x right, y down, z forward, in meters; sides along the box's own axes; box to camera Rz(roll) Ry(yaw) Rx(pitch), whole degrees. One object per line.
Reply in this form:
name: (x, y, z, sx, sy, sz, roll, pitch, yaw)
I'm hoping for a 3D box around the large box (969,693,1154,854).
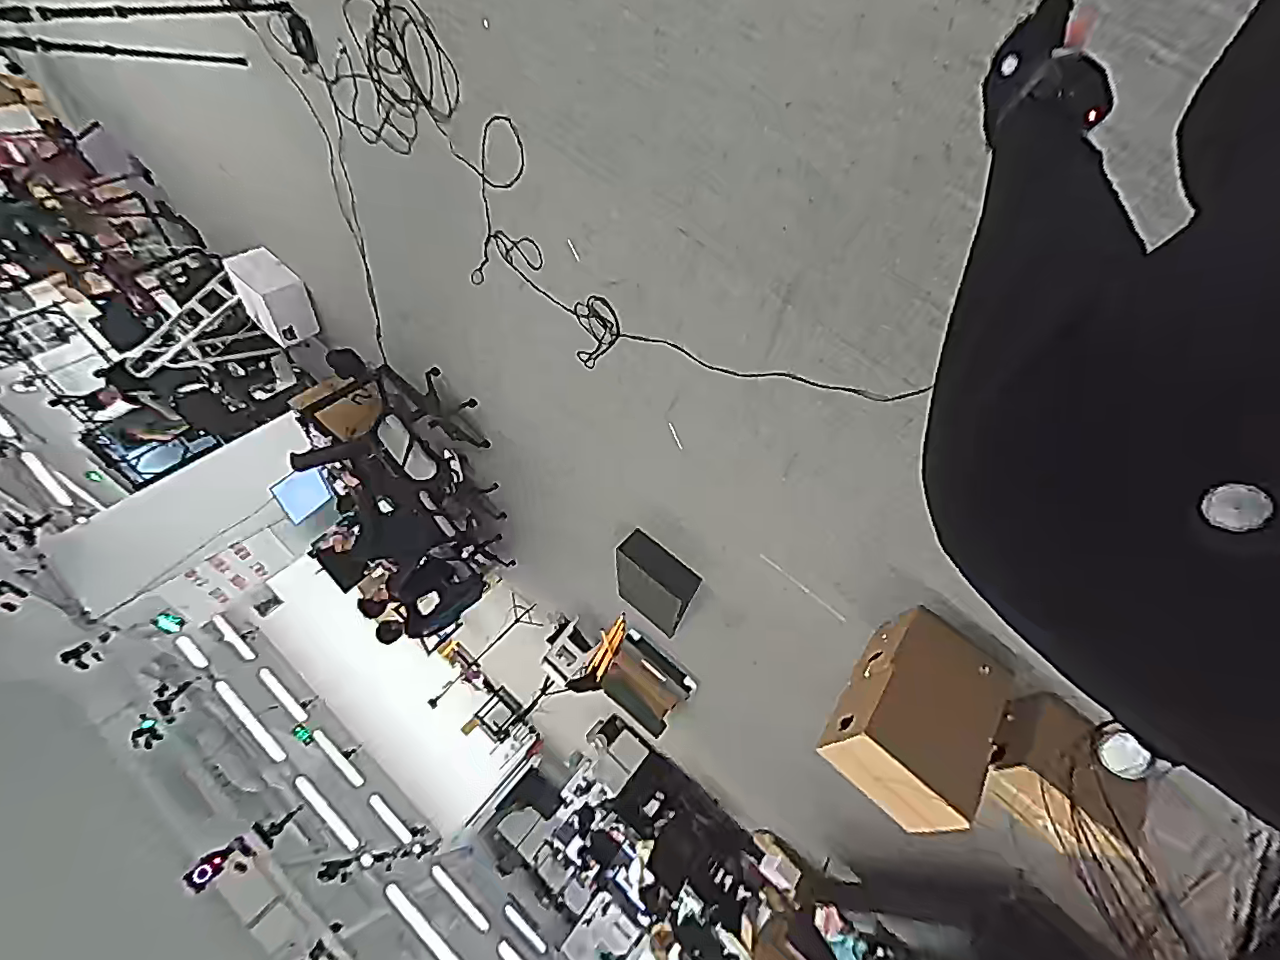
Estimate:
large box: (1.504, 1.048, 1.947, 0.408, 0.320, 0.320, 39, 149, 11)
